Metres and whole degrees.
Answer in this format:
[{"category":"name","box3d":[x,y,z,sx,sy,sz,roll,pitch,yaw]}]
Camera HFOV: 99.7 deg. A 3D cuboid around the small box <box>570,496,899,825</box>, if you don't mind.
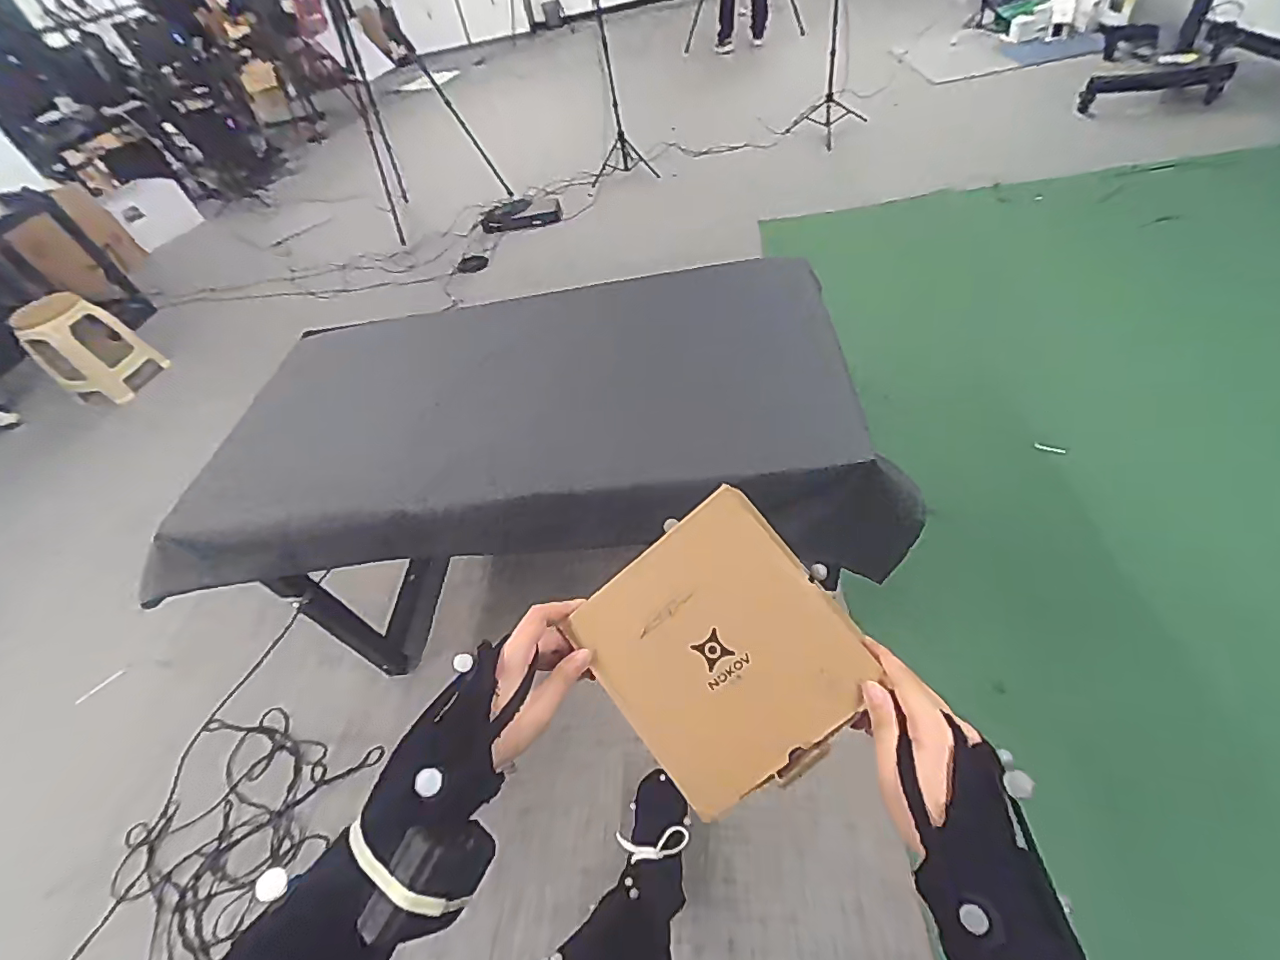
[{"category":"small box","box3d":[0.078,0.129,0.458,0.168,0.176,0.179,-41,78,7]}]
